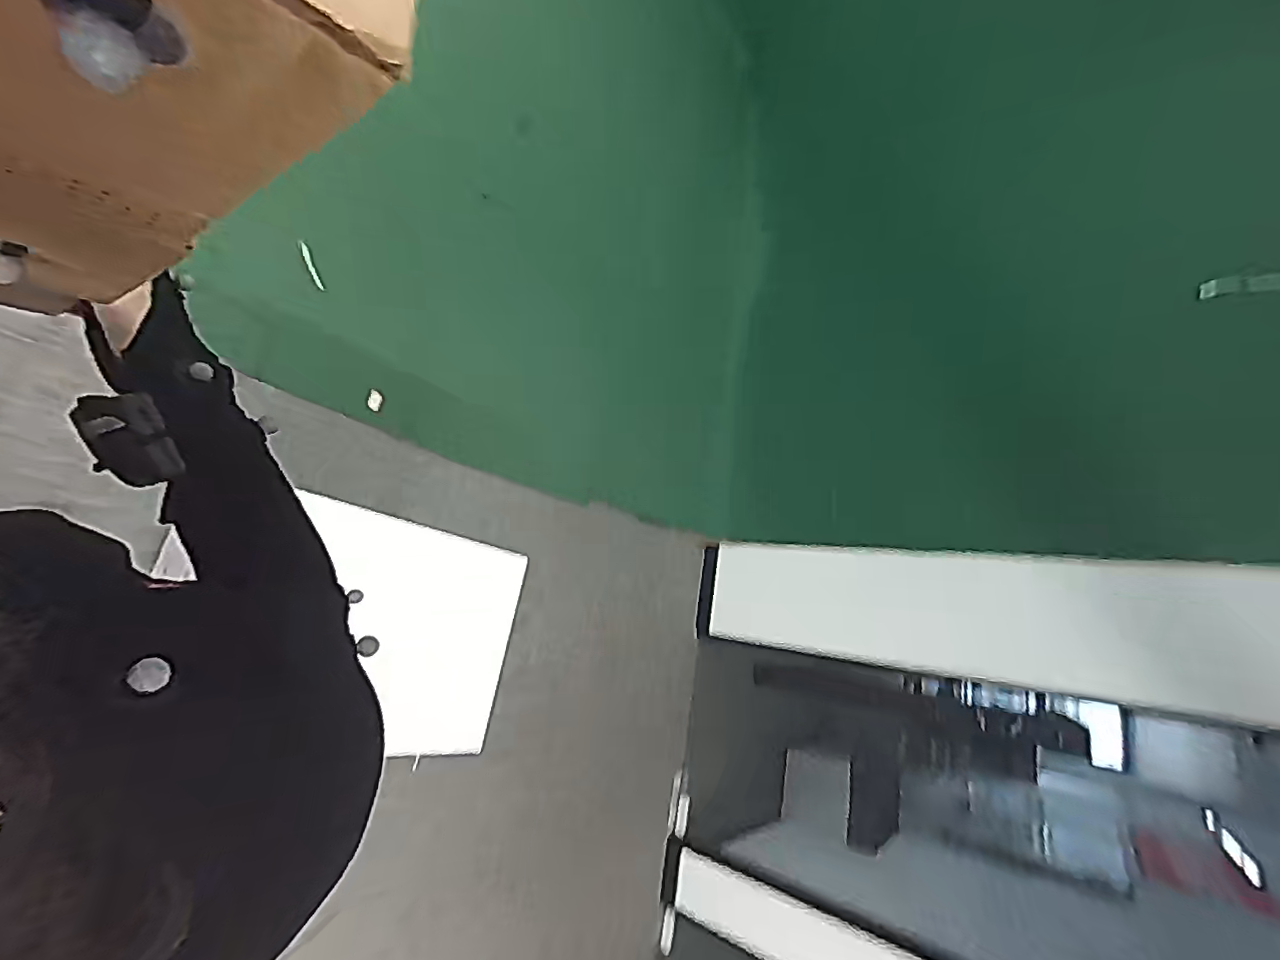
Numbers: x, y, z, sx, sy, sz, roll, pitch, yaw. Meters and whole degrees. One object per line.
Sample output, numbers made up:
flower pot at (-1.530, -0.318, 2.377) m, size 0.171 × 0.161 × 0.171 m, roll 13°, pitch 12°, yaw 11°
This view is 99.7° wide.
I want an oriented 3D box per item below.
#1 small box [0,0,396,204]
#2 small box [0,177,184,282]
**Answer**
small box at (-0.157, -0.174, 0.088) m, size 0.179 × 0.176 × 0.168 m, roll 7°, pitch 88°, yaw -54°
small box at (-0.287, -0.181, 0.186) m, size 0.179 × 0.176 × 0.168 m, roll 3°, pitch 91°, yaw -53°
